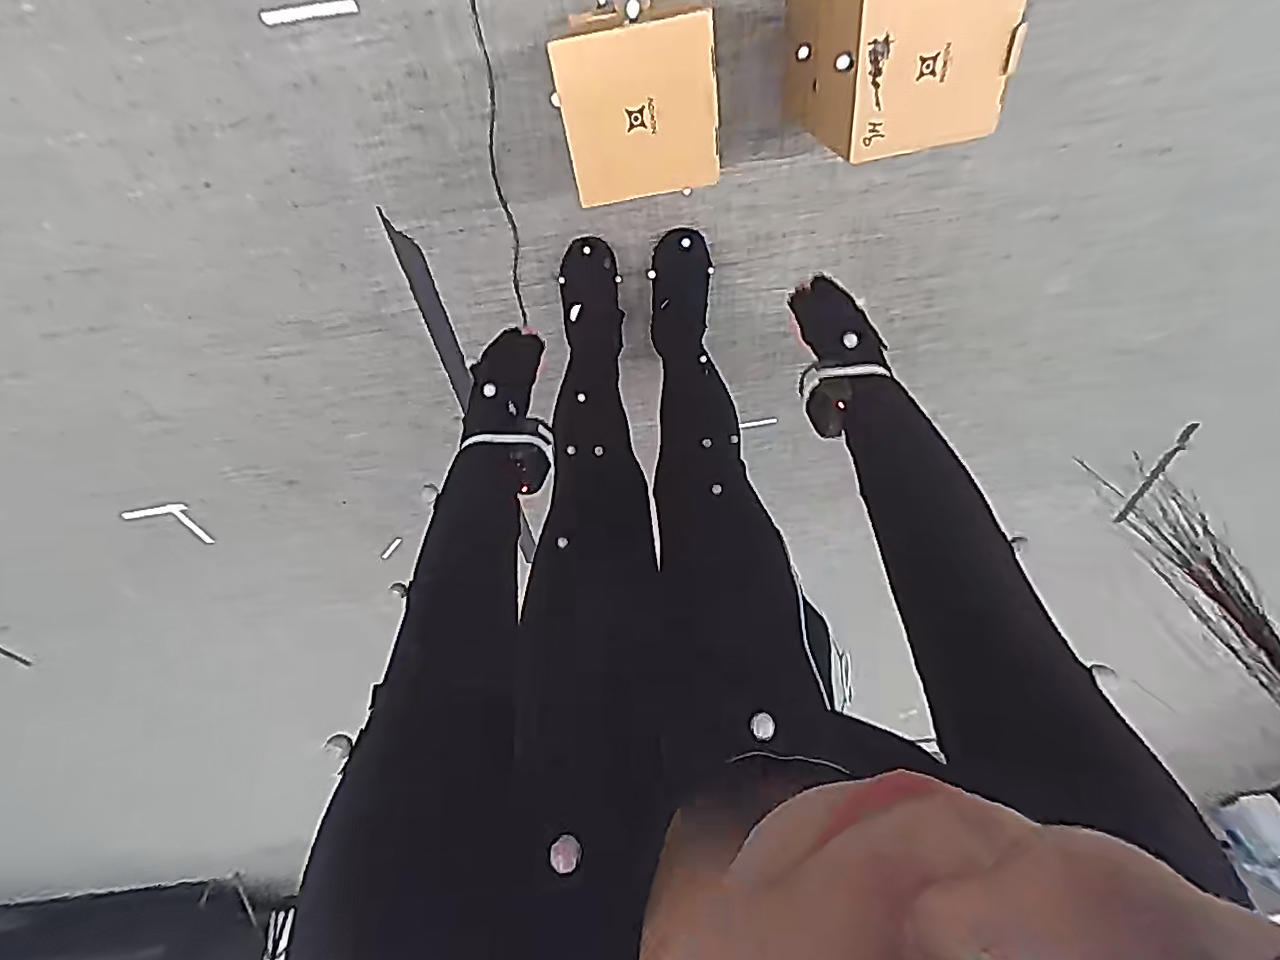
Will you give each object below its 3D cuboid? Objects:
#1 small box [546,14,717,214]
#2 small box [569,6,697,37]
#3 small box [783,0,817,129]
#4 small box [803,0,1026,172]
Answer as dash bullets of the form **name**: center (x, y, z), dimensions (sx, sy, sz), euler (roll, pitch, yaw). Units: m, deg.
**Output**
- **small box**: center (-0.006, -0.455, 0.672), dimensions (0.179, 0.176, 0.168), euler (-9, 133, 4)
- **small box**: center (-0.009, -0.569, 0.788), dimensions (0.168, 0.176, 0.179), euler (-6, 135, 1)
- **small box**: center (0.308, -0.614, 0.775), dimensions (0.168, 0.176, 0.179), euler (-9, 134, 4)
- **small box**: center (0.314, -0.501, 0.655), dimensions (0.179, 0.176, 0.168), euler (-10, 133, 3)
